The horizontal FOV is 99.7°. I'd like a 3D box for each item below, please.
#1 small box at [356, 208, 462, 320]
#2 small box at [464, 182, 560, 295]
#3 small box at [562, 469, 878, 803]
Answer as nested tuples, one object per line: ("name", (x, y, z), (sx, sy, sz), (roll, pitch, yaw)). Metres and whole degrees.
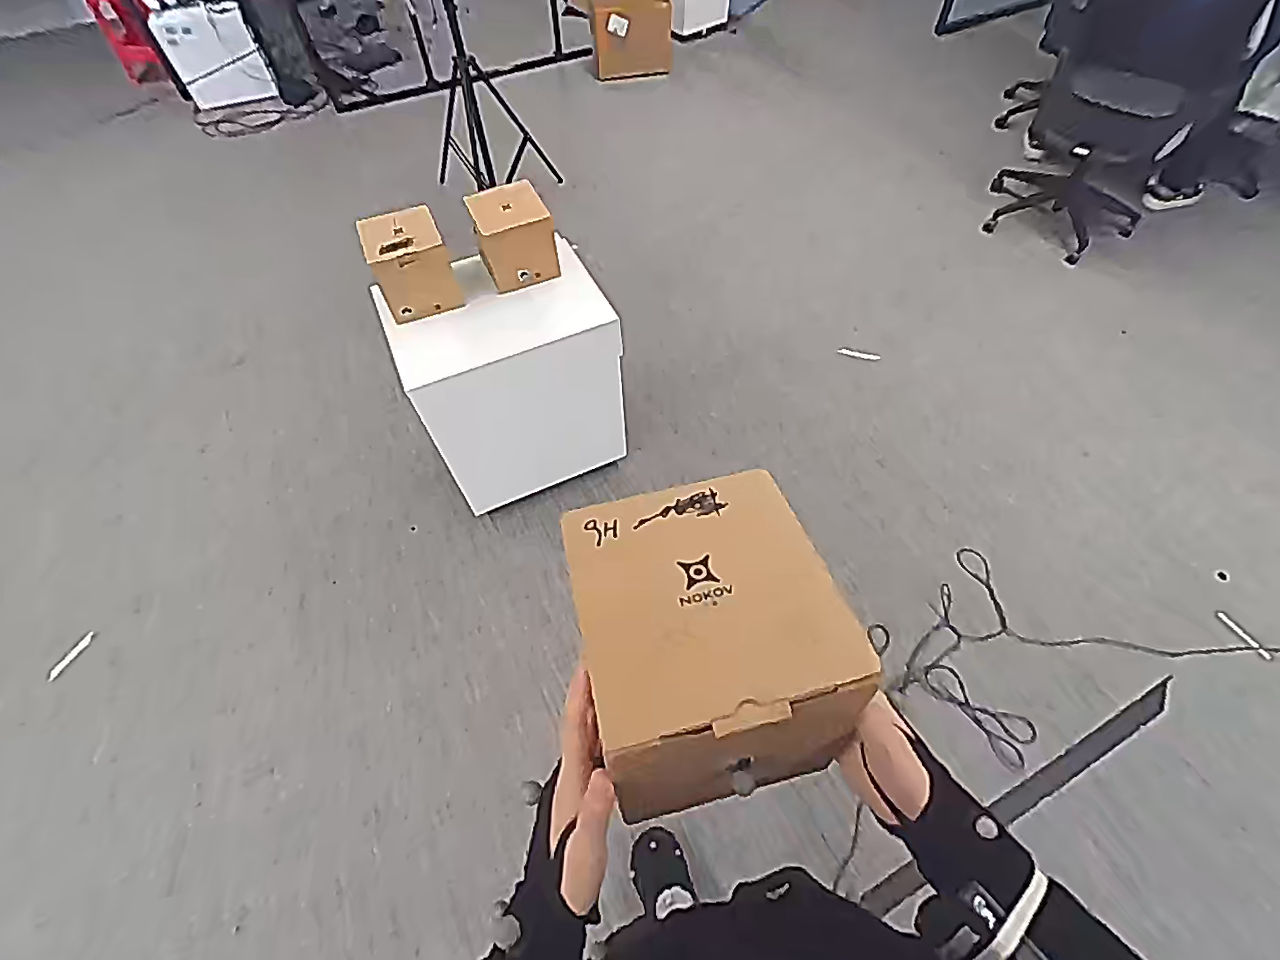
("small box", (-0.537, -0.500, 1.271), (0.168, 0.176, 0.179), (-21, 59, -13))
("small box", (-0.310, -0.589, 1.328), (0.168, 0.176, 0.179), (-23, 61, -12))
("small box", (0.044, 0.123, 0.411), (0.168, 0.176, 0.179), (-12, 48, -8))
